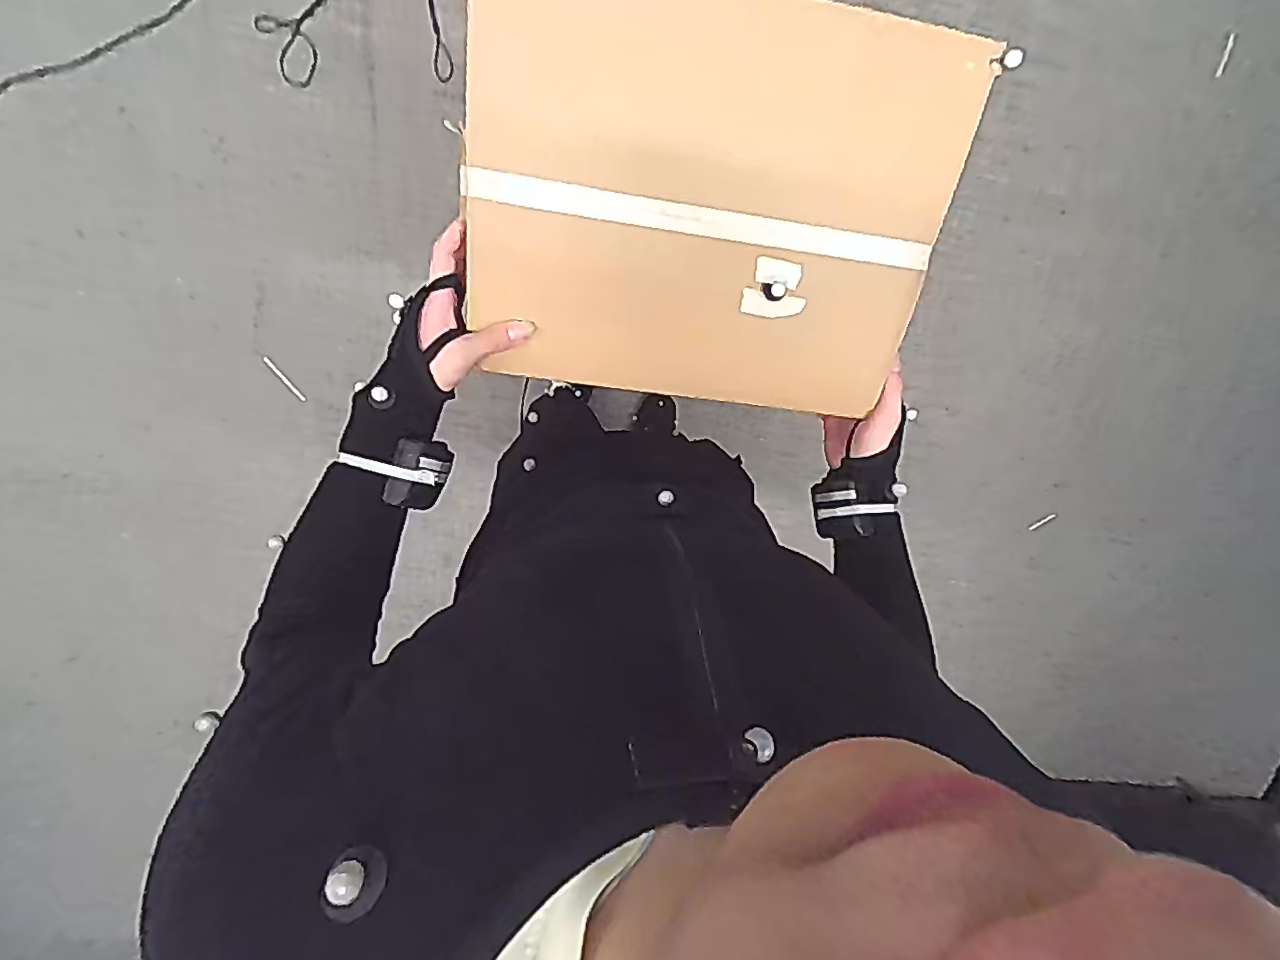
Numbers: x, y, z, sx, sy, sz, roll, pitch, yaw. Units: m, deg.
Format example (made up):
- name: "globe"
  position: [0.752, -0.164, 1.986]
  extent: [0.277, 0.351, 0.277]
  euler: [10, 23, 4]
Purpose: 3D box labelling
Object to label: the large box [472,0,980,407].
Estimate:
- name: "large box"
  position: [0.044, -0.290, 0.601]
  extent: [0.408, 0.320, 0.320]
  euler: [5, 117, -9]
